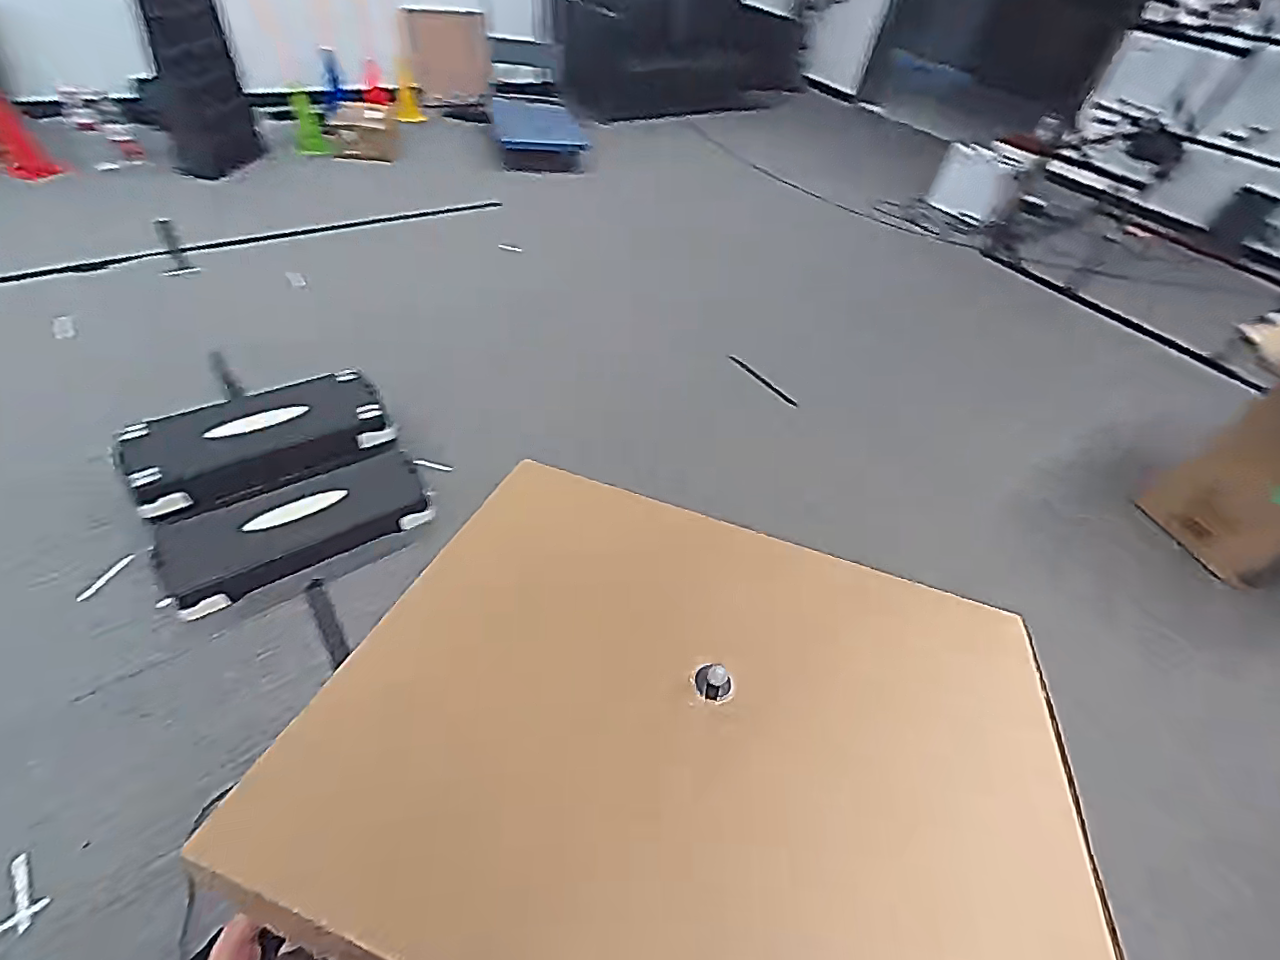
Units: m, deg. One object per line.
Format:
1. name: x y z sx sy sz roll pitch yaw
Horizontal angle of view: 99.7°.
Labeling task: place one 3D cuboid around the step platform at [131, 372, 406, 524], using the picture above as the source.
1. step platform: -1.113 -0.121 1.669 0.684 0.204 0.286 -20 55 -26

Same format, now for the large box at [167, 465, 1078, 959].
1. large box: 0.006 0.231 0.411 0.408 0.320 0.320 15 42 10
